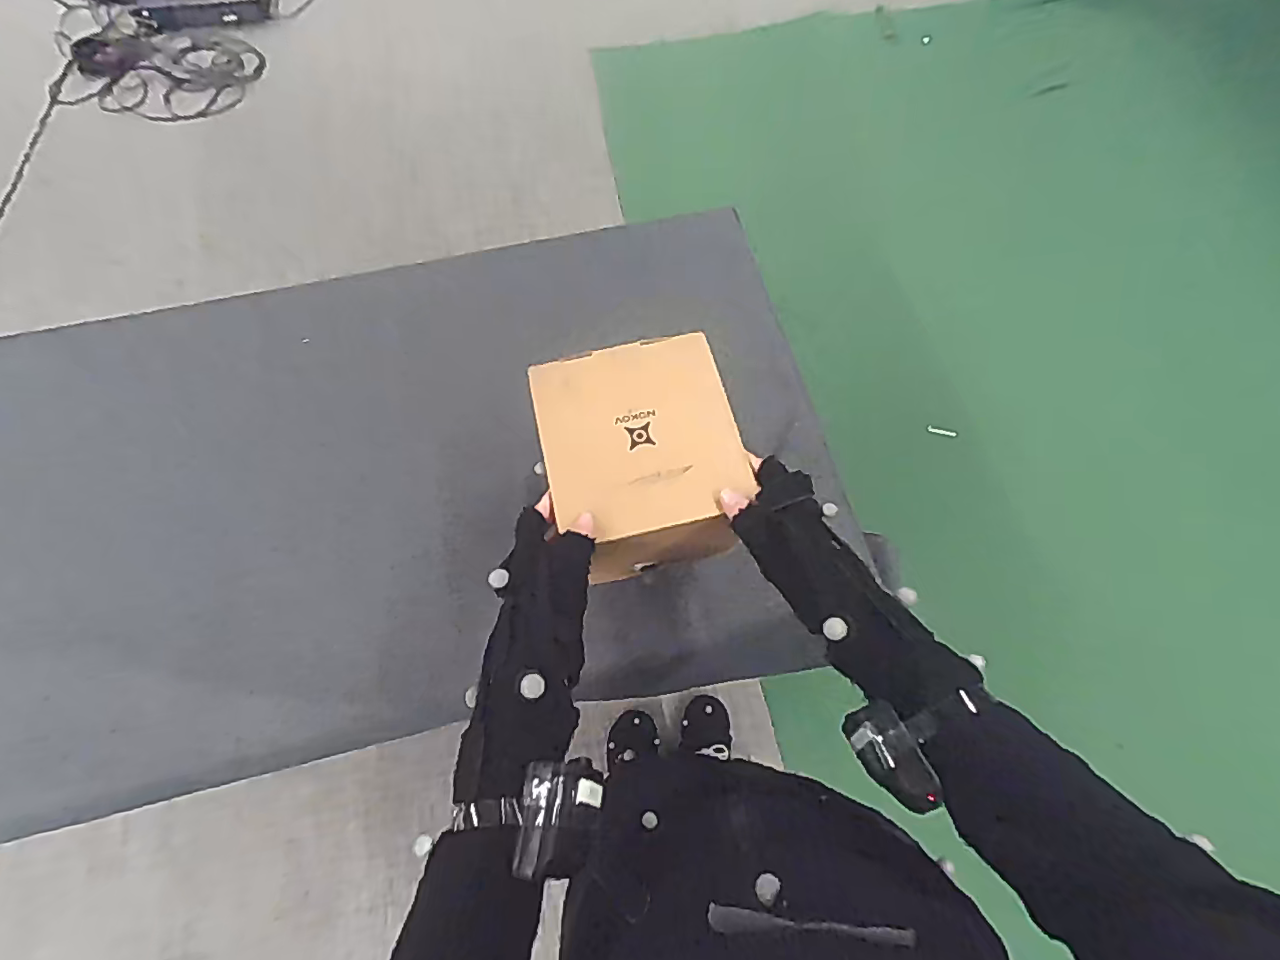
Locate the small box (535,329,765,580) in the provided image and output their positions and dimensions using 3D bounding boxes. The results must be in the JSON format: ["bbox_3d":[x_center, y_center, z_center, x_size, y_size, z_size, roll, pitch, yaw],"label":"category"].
[{"bbox_3d":[0.004,-0.015,0.532,0.168,0.176,0.179,-13,71,-4],"label":"small box"}]
